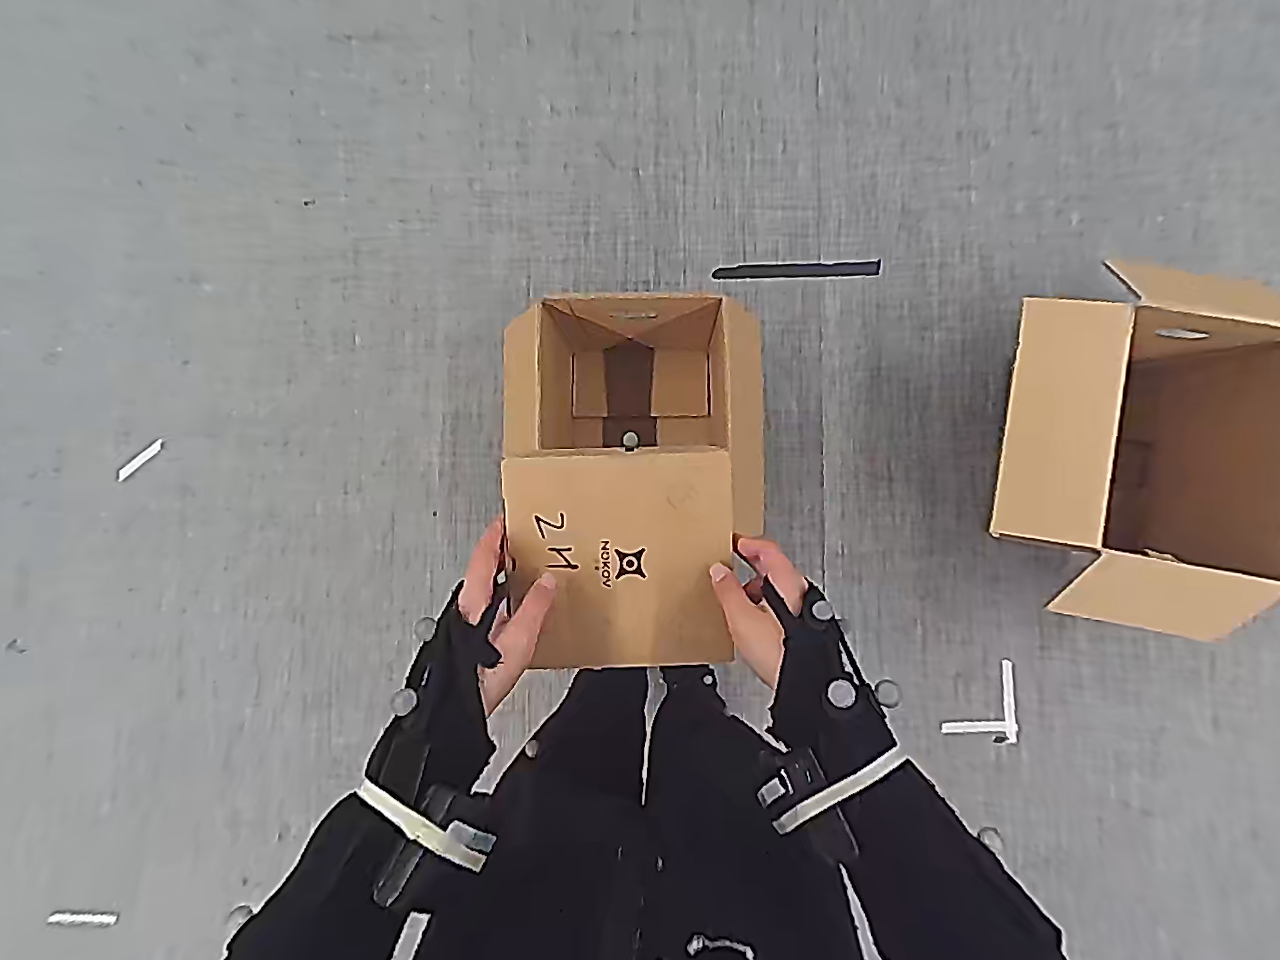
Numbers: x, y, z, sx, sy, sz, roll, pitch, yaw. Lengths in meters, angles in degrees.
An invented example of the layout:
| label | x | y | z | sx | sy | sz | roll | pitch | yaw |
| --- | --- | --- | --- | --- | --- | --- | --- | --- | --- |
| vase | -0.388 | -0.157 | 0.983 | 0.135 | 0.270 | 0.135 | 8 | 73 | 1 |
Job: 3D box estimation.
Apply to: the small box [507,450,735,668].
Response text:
| label | x | y | z | sx | sy | sz | roll | pitch | yaw |
| --- | --- | --- | --- | --- | --- | --- | --- | --- | --- |
| small box | -0.015 | 0.057 | 0.496 | 0.179 | 0.176 | 0.168 | -1 | 94 | 0 |
